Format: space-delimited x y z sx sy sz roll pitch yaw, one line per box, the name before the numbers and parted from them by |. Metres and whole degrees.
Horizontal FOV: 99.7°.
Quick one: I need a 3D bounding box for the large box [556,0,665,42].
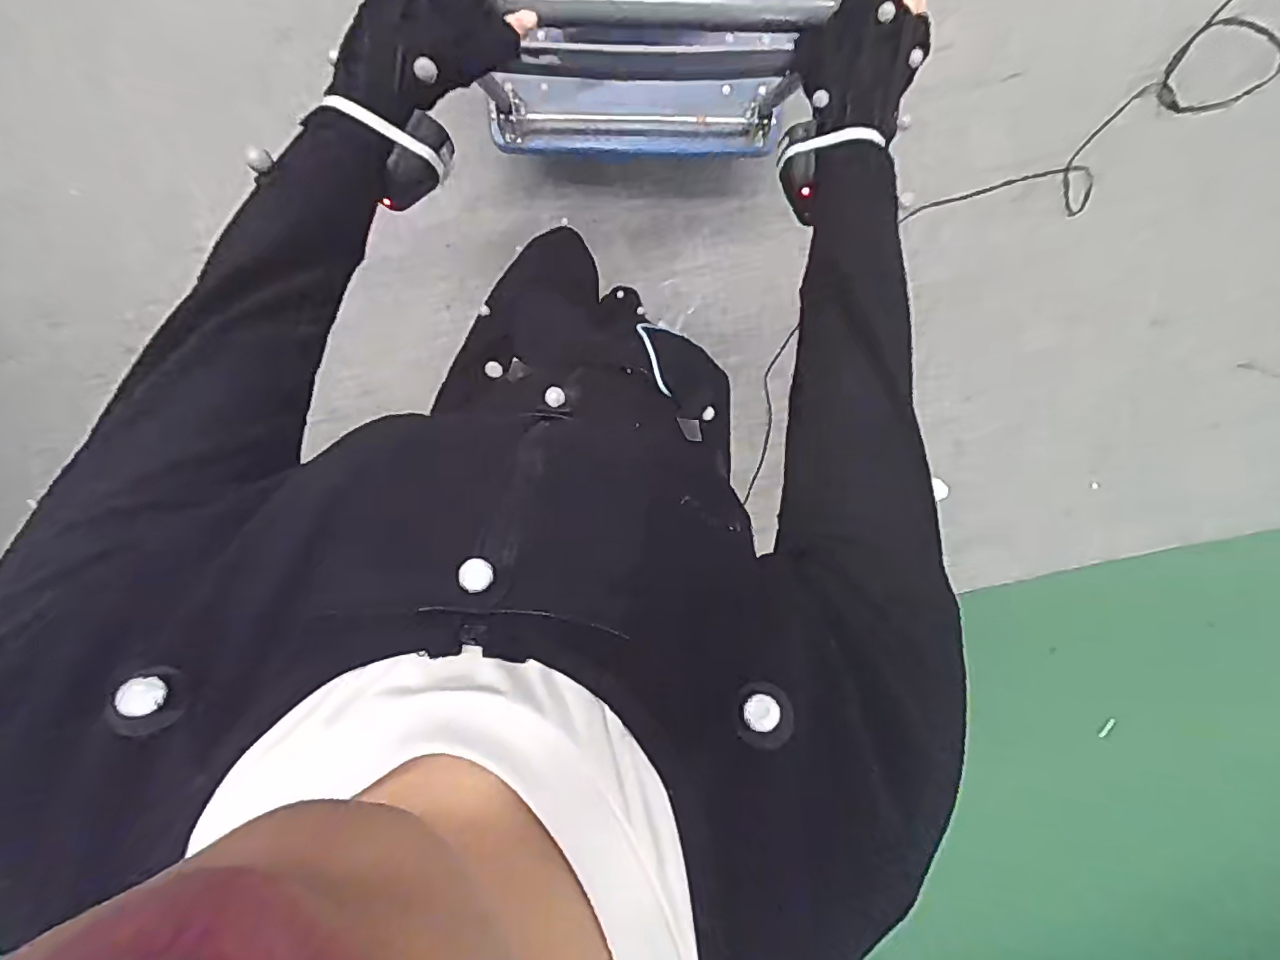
large box | 0.007 -0.964 0.806 0.408 0.320 0.320 -20 109 7
